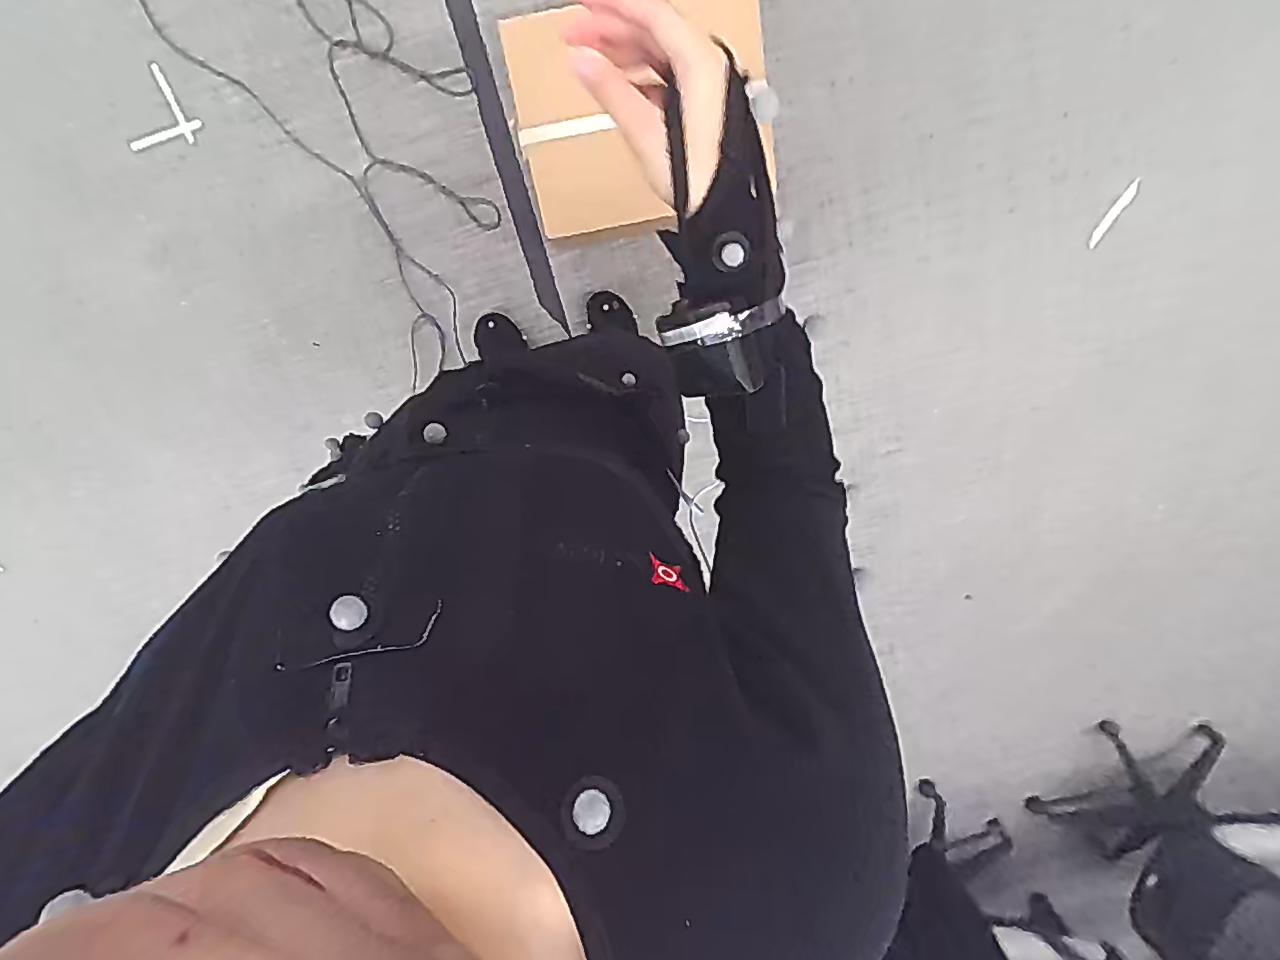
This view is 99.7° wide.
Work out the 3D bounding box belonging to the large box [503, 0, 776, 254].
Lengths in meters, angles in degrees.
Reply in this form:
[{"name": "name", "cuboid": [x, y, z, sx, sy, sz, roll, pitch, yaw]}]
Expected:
[{"name": "large box", "cuboid": [-0.001, -0.635, 1.016, 0.408, 0.320, 0.320, -12, 111, -1]}]
